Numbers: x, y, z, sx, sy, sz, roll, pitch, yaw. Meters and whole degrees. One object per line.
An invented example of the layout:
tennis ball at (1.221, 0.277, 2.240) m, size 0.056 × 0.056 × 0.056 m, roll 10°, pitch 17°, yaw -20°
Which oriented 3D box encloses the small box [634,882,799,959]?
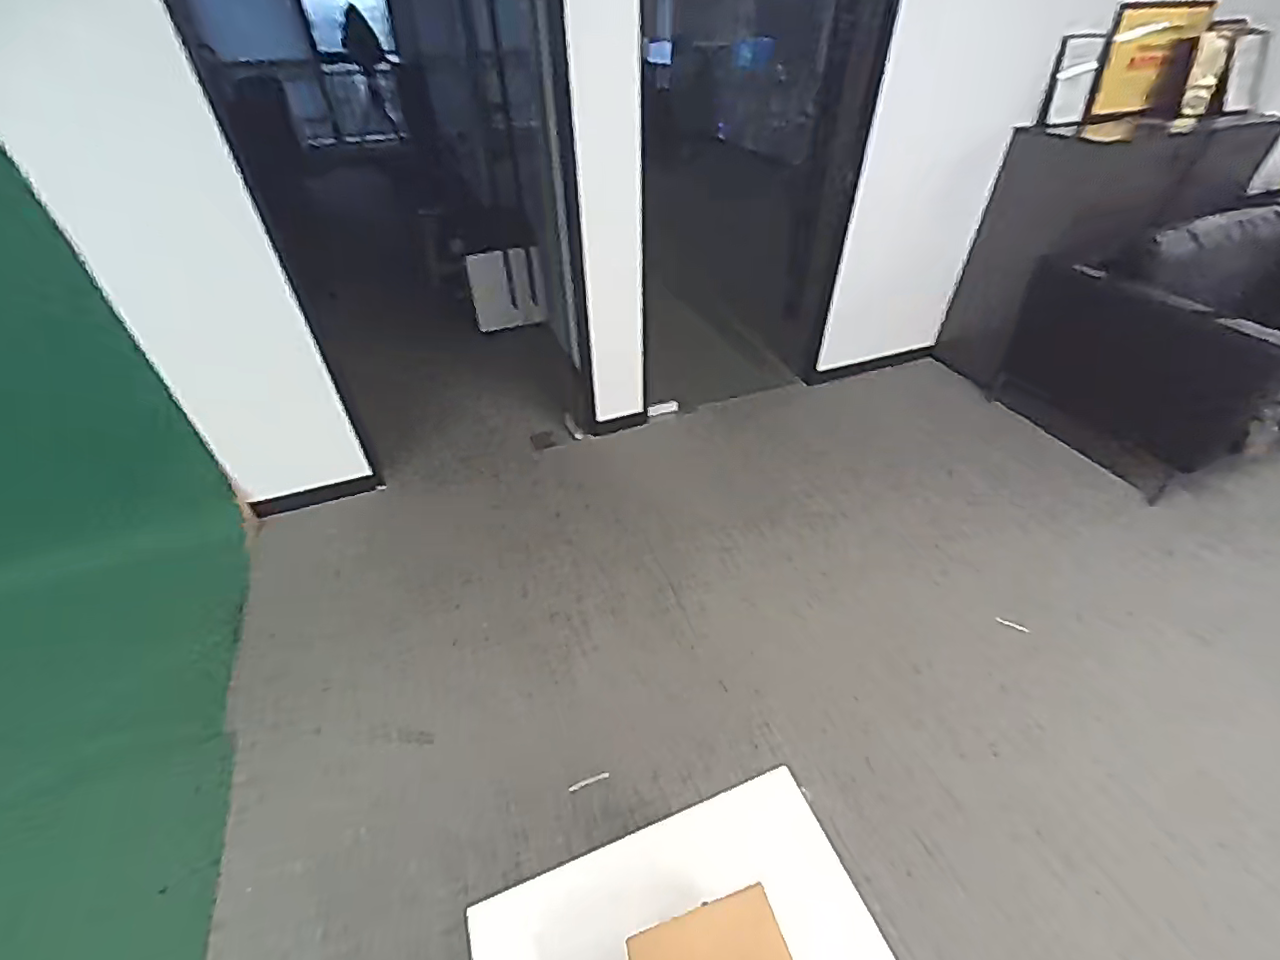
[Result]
small box at (0.094, 0.589, 0.589) m, size 0.168 × 0.176 × 0.179 m, roll -13°, pitch 42°, yaw -13°
